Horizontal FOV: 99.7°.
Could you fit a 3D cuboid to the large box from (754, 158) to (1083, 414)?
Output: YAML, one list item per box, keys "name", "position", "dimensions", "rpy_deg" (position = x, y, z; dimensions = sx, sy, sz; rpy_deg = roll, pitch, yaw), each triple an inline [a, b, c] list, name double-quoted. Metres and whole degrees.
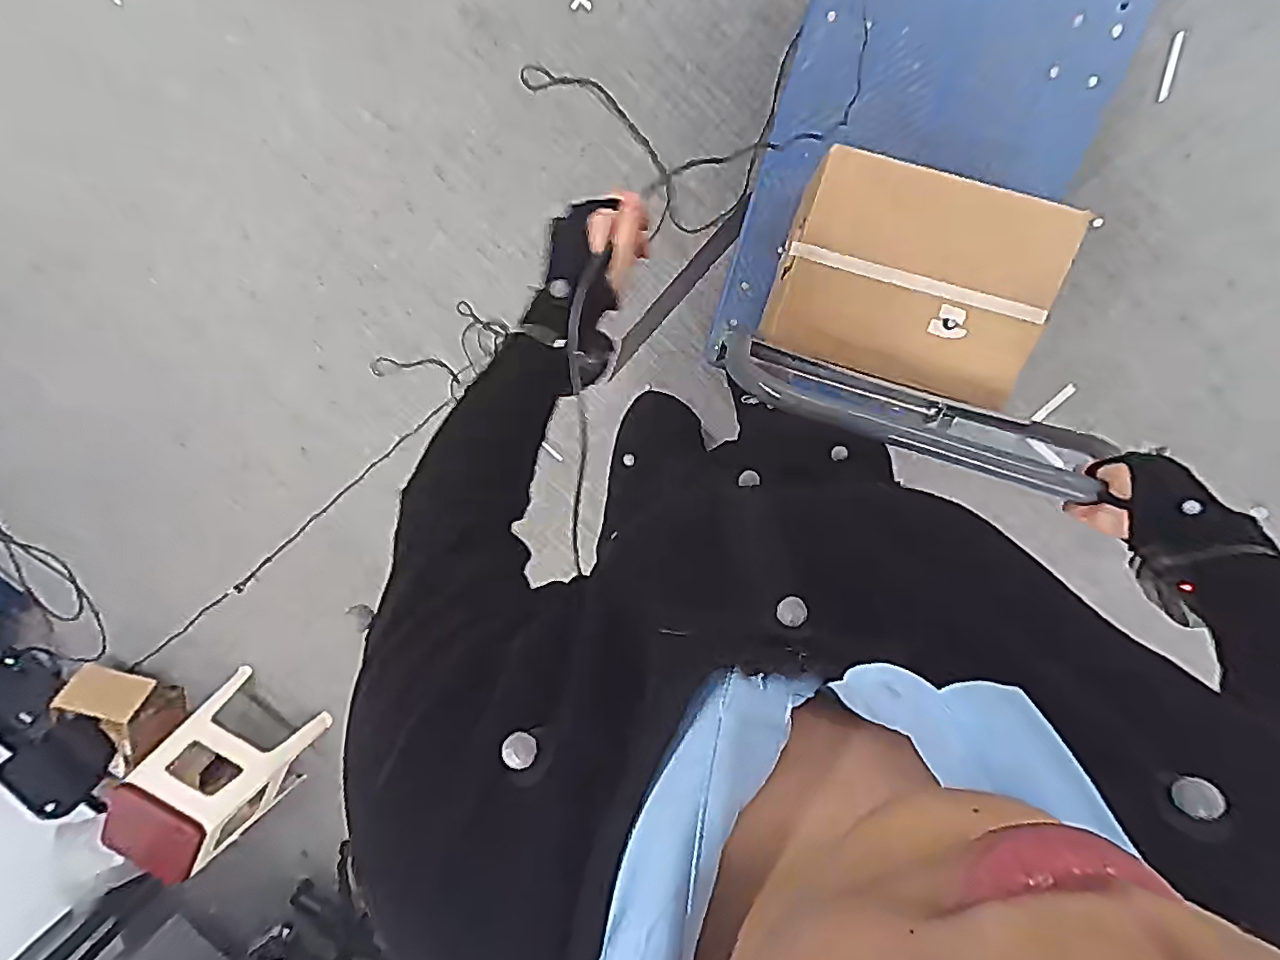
- name: "large box"
  position: [0.458, -0.342, 1.007]
  dimensions: [0.408, 0.320, 0.320]
  rpy_deg: [17, 108, 2]
